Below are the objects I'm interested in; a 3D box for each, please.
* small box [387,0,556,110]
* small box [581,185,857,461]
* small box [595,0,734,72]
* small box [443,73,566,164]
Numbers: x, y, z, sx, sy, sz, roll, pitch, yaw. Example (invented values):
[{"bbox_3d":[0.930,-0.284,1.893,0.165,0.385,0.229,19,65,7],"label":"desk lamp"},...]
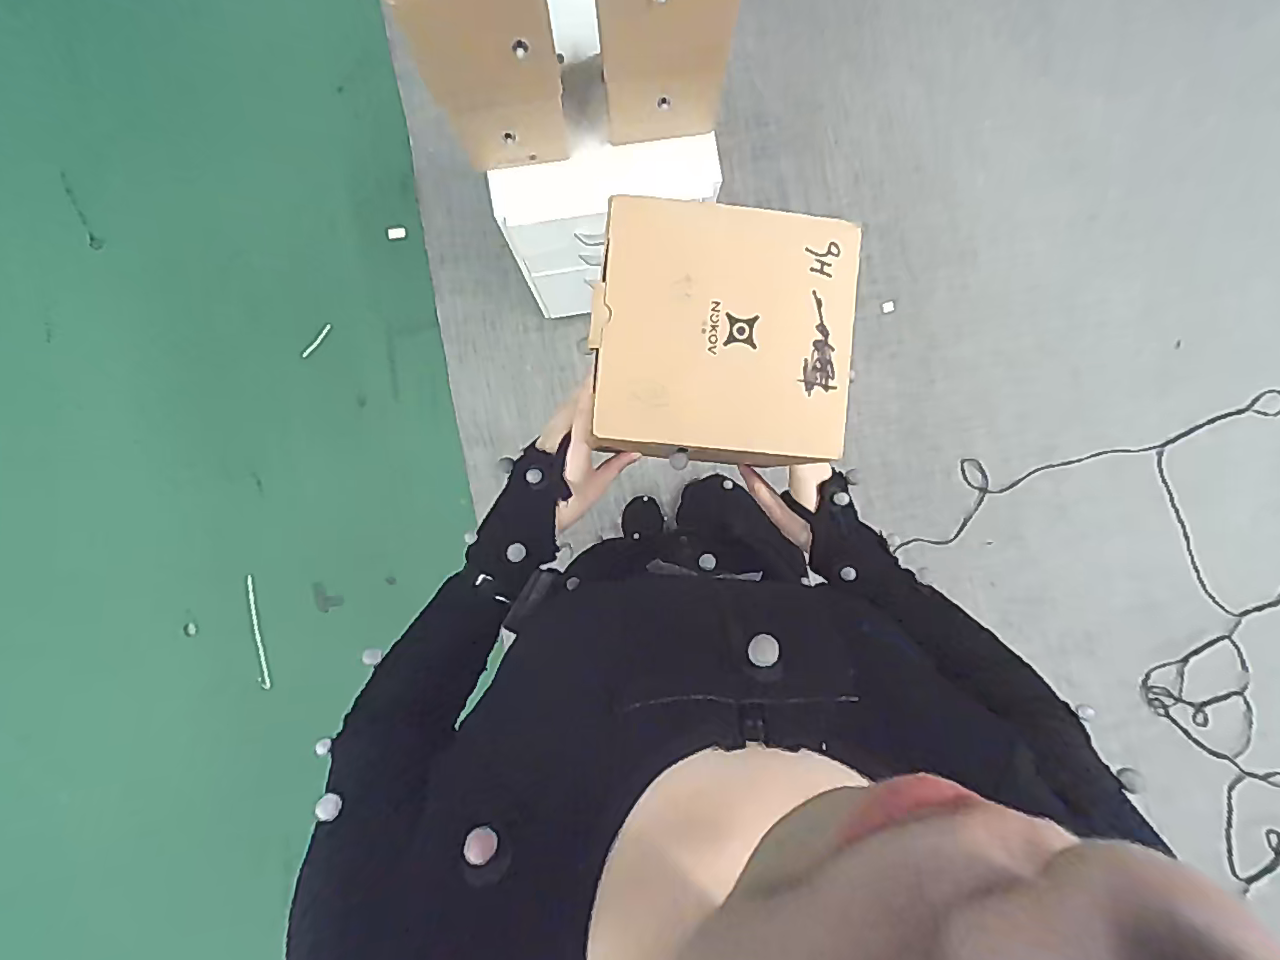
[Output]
[{"bbox_3d":[-0.204,-0.604,0.671,0.179,0.176,0.168,-10,88,-2],"label":"small box"},{"bbox_3d":[0.050,-0.107,0.444,0.179,0.176,0.168,6,89,-4],"label":"small box"},{"bbox_3d":[0.026,-0.653,0.675,0.179,0.176,0.168,-7,89,0],"label":"small box"},{"bbox_3d":[-0.212,-0.616,0.833,0.168,0.176,0.179,-9,89,-3],"label":"small box"}]
